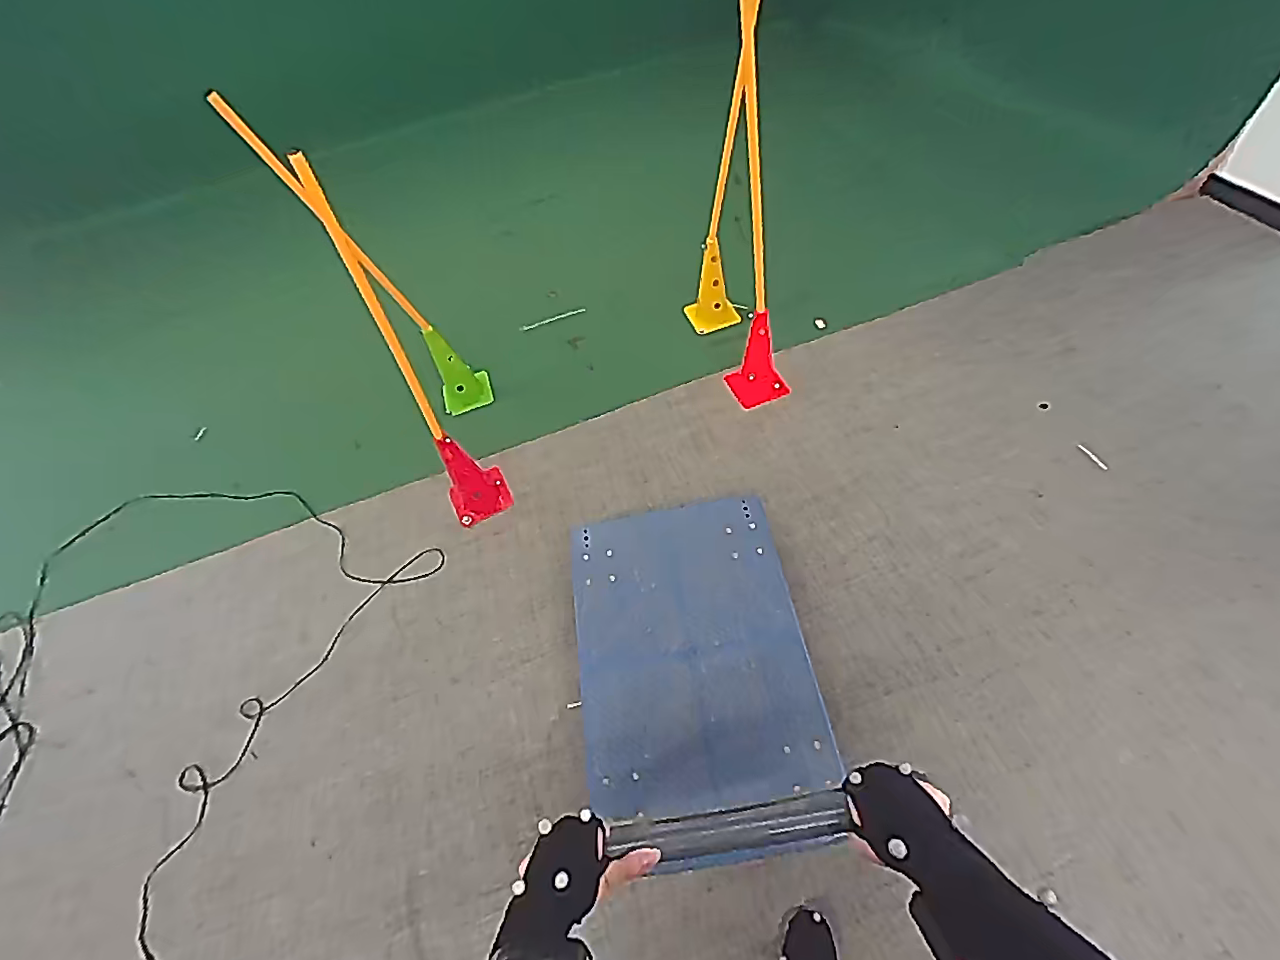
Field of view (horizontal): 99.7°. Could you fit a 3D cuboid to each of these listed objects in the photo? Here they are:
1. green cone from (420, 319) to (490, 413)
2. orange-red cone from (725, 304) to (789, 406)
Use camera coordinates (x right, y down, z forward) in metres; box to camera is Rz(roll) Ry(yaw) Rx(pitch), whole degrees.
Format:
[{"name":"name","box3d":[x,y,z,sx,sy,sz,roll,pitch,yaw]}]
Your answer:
[{"name":"green cone","box3d":[-0.754,-0.471,2.115,0.200,0.368,0.202,-21,54,-4]},{"name":"orange-red cone","box3d":[0.422,-0.472,1.933,0.198,0.360,0.199,-19,54,-5]}]
